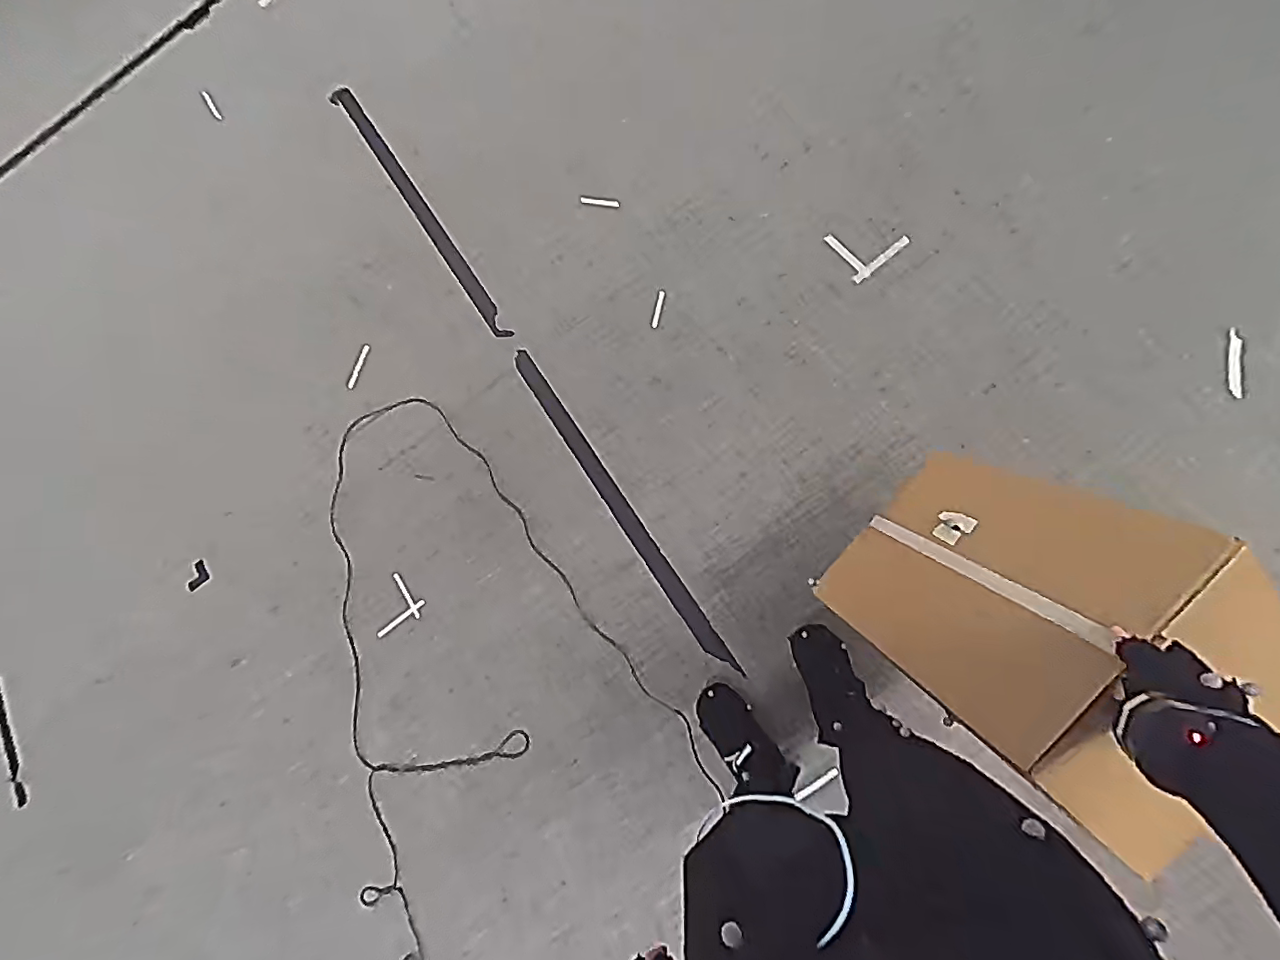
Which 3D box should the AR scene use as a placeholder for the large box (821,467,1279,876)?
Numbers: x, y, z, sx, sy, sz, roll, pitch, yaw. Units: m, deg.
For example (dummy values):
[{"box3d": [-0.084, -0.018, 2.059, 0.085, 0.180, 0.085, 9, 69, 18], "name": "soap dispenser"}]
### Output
[{"box3d": [0.557, 0.228, 0.773, 0.320, 0.408, 0.320, 42, 92, -20], "name": "large box"}]
